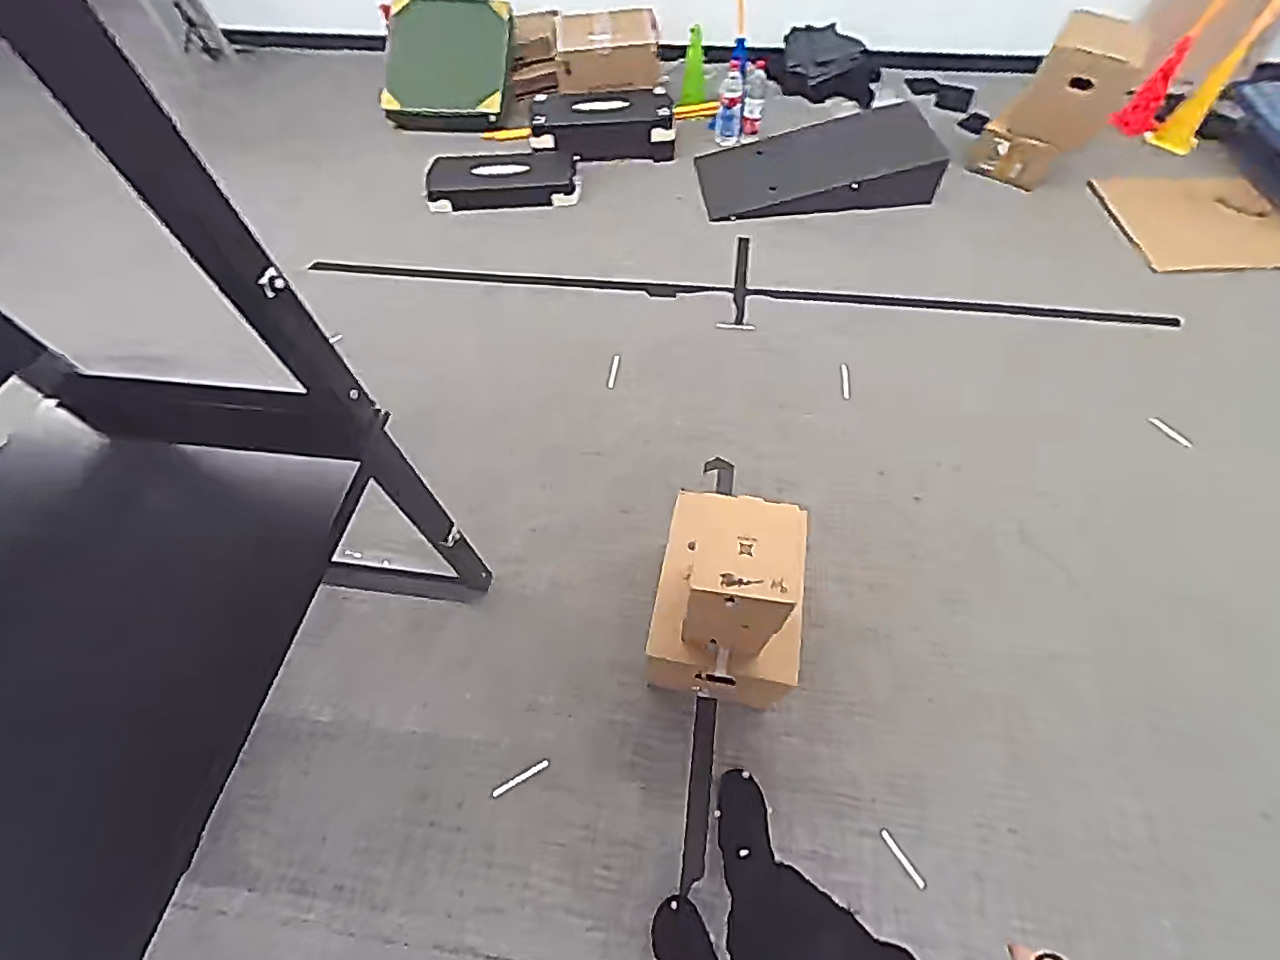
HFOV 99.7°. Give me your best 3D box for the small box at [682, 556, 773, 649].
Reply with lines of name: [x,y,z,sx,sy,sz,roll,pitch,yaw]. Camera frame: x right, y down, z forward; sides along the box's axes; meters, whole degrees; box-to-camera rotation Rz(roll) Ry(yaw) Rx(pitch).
small box: [0.177,0.217,1.075,0.168,0.176,0.179,9,60,8]

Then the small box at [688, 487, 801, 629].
small box: [0.175,0.137,0.932,0.168,0.176,0.179,7,59,7]

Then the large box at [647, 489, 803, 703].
large box: [0.201,0.288,1.317,0.320,0.320,0.408,10,59,6]
